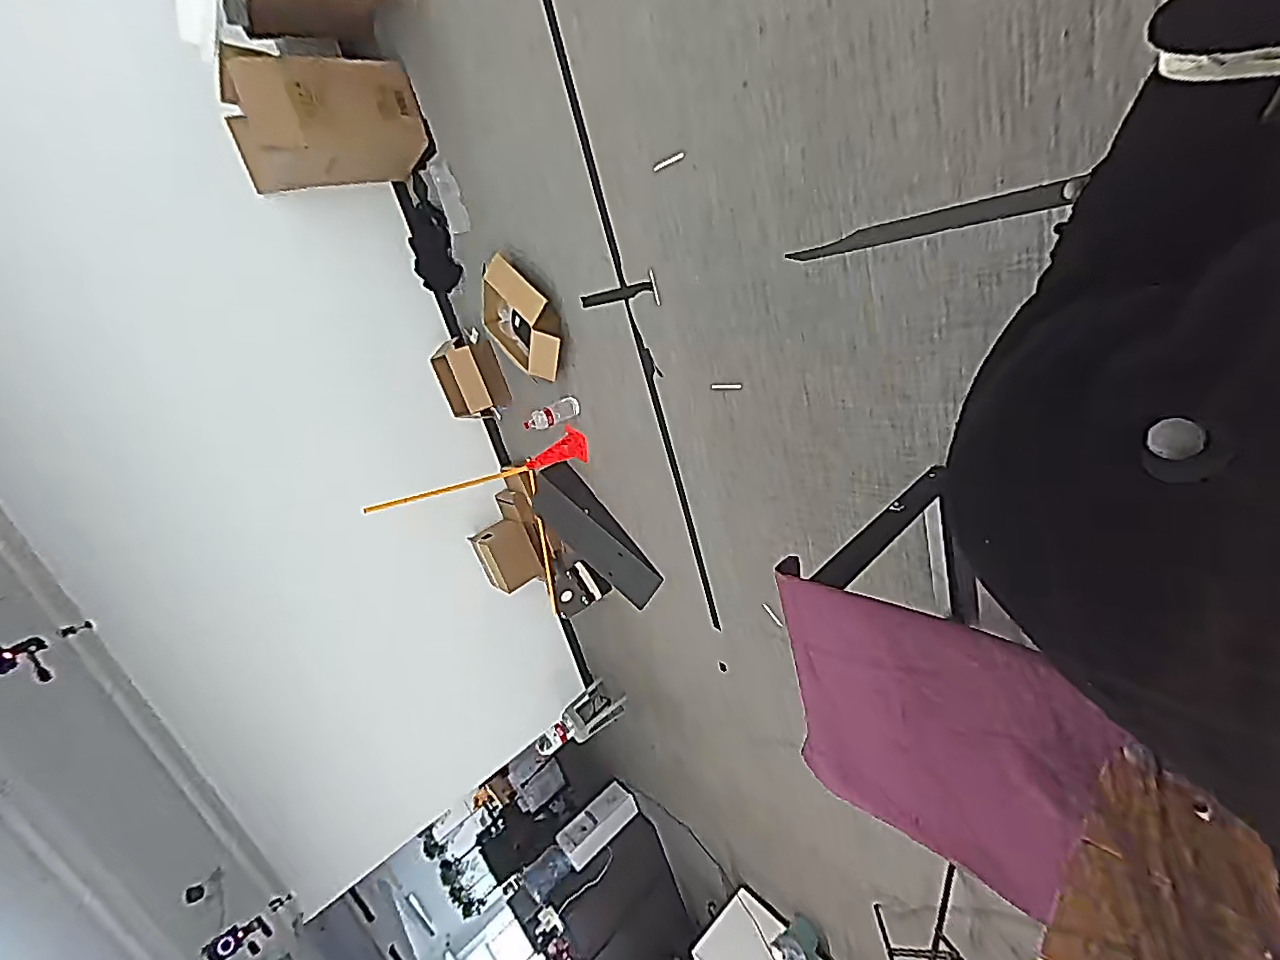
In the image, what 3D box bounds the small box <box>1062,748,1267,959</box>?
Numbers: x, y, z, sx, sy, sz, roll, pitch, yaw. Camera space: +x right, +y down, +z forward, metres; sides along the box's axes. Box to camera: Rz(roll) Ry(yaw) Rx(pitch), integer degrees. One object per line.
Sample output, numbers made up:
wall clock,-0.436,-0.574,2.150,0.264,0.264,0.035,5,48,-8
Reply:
small box,0.693,0.508,0.720,0.168,0.176,0.179,13,125,48
